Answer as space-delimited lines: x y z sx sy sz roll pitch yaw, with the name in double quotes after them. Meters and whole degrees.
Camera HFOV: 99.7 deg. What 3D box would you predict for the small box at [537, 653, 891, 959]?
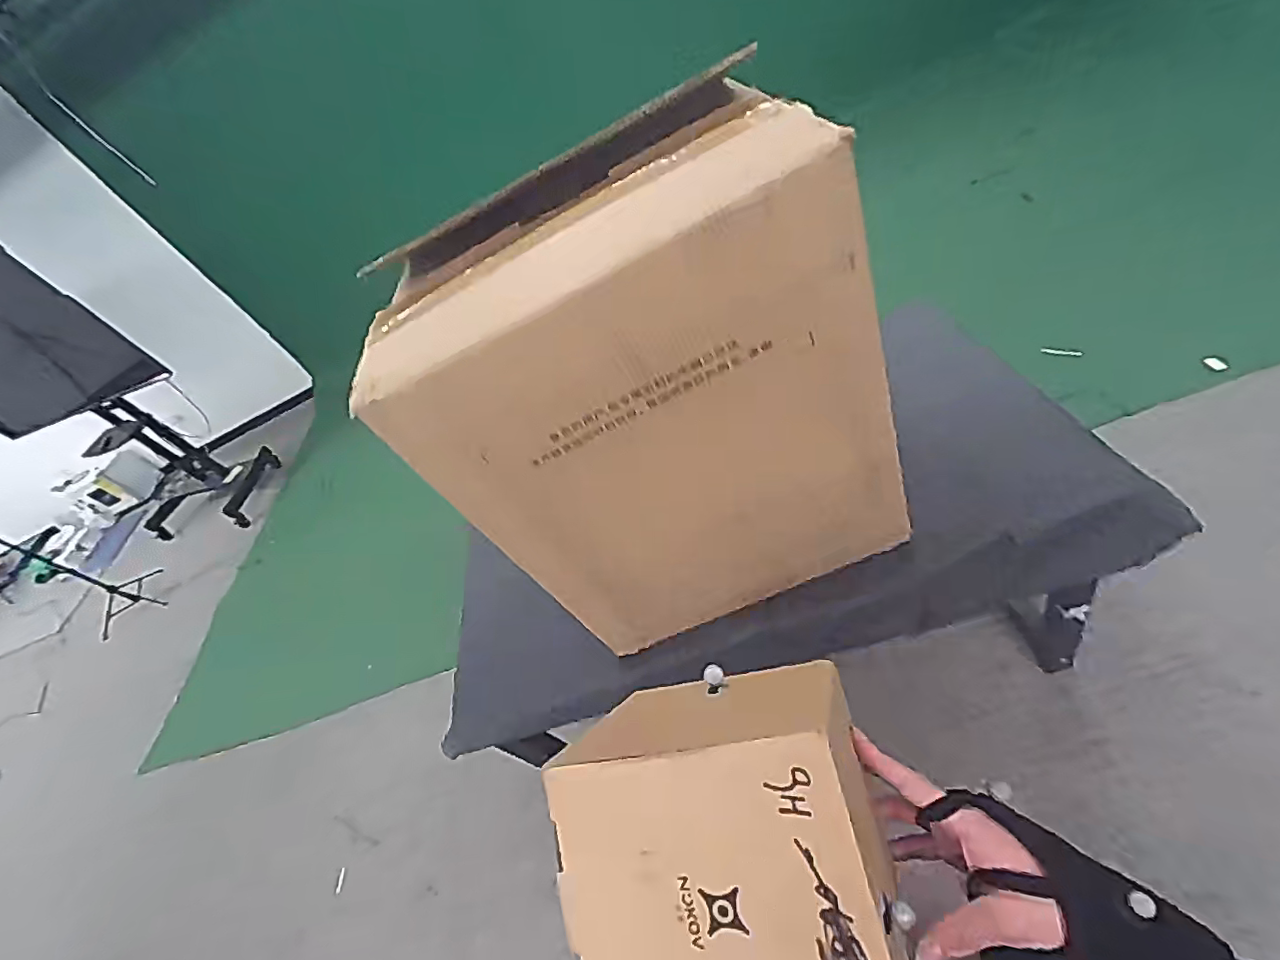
0.060 0.229 0.368 0.179 0.176 0.168 -17 80 19 "small box"
